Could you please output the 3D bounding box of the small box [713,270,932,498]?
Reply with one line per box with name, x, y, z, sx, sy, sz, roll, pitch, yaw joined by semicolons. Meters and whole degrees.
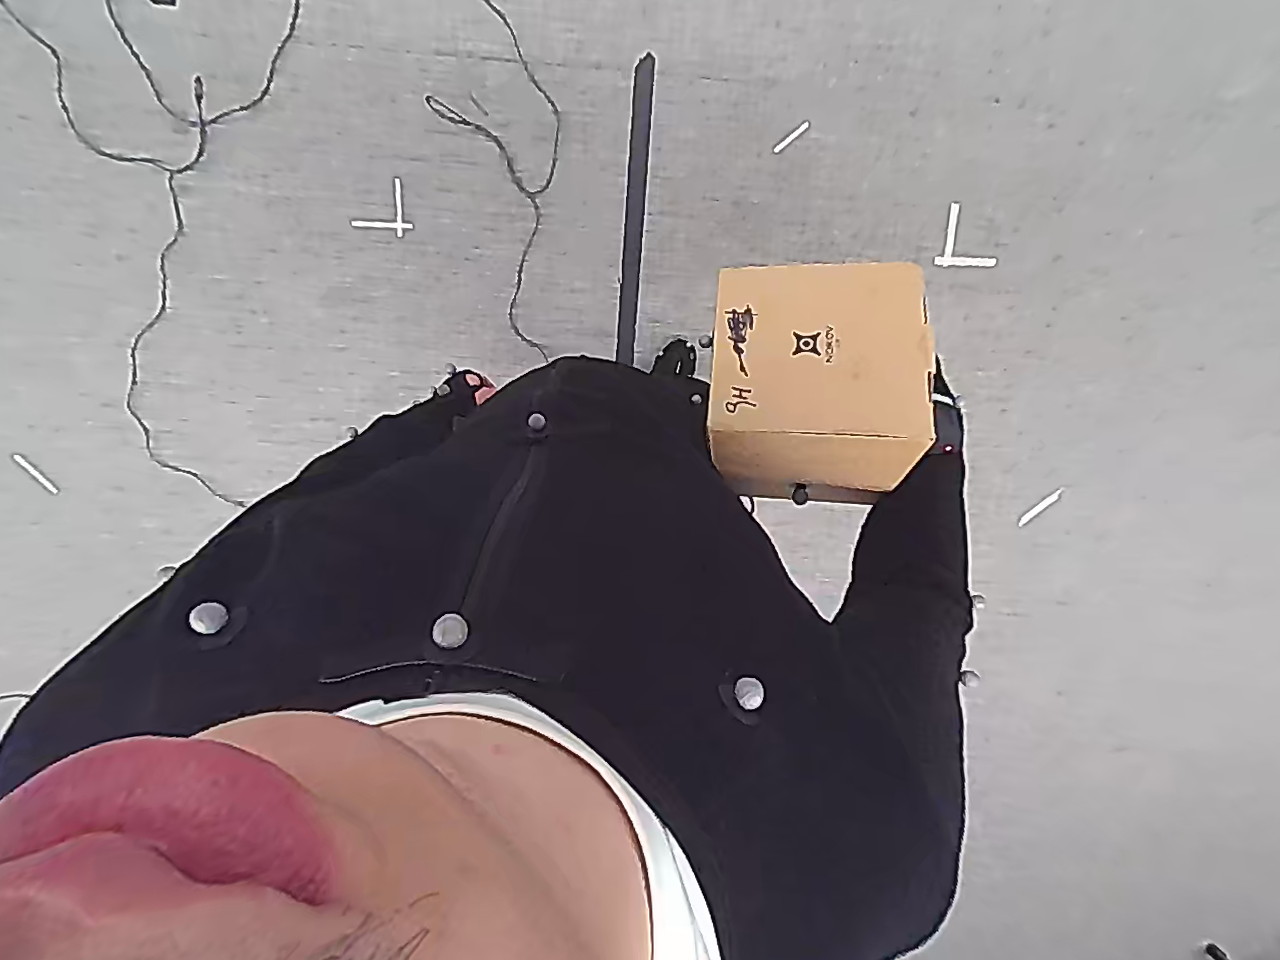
small box;0.168;-0.086;0.543;0.179;0.176;0.168;4;70;10
